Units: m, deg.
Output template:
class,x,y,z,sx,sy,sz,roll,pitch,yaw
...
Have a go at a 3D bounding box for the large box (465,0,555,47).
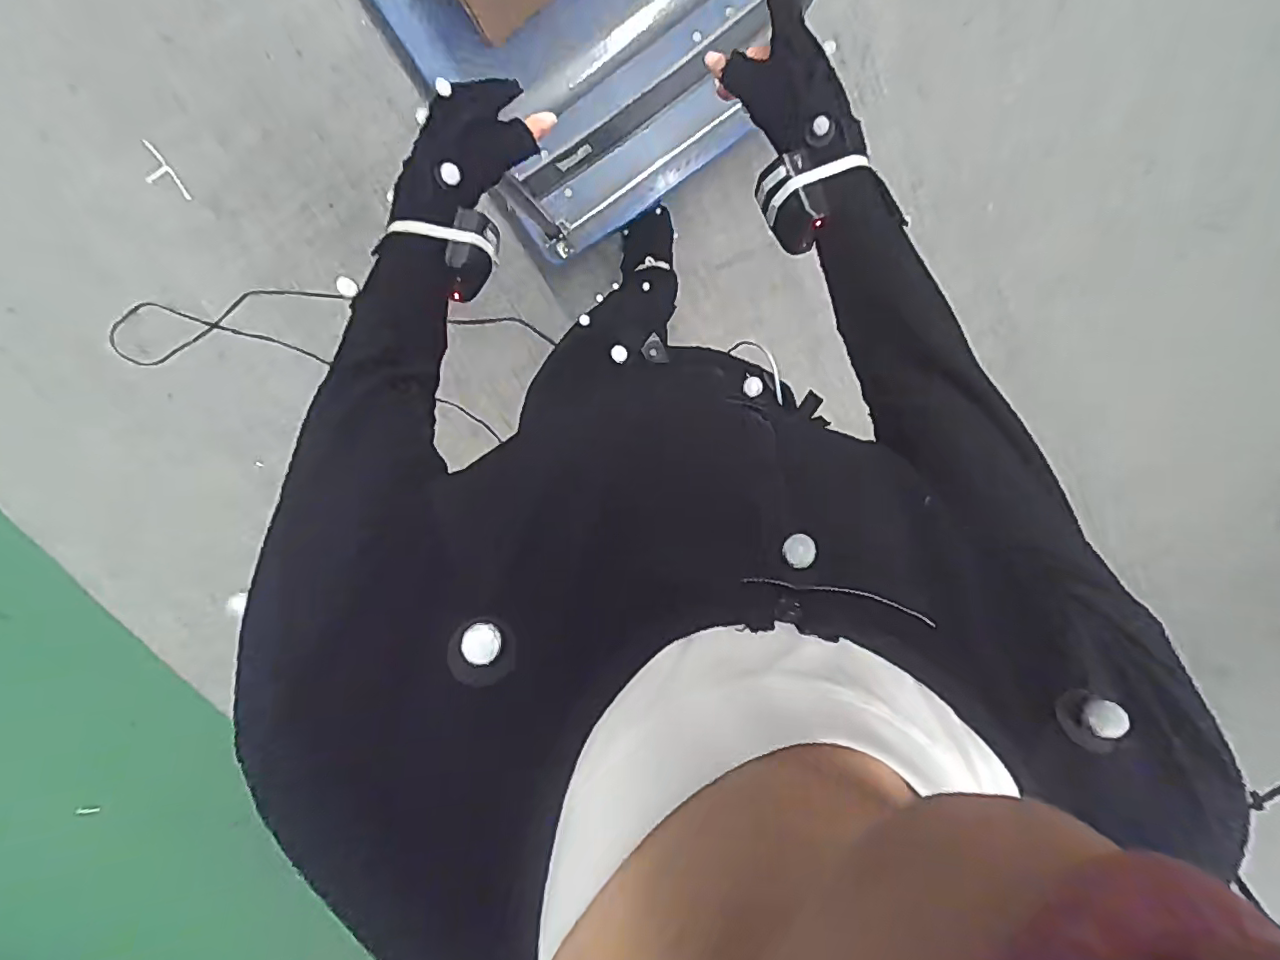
class,x,y,z,sx,sy,sz,roll,pitch,yaw
large box,-0.184,-0.970,0.788,0.408,0.320,0.320,-35,108,11
